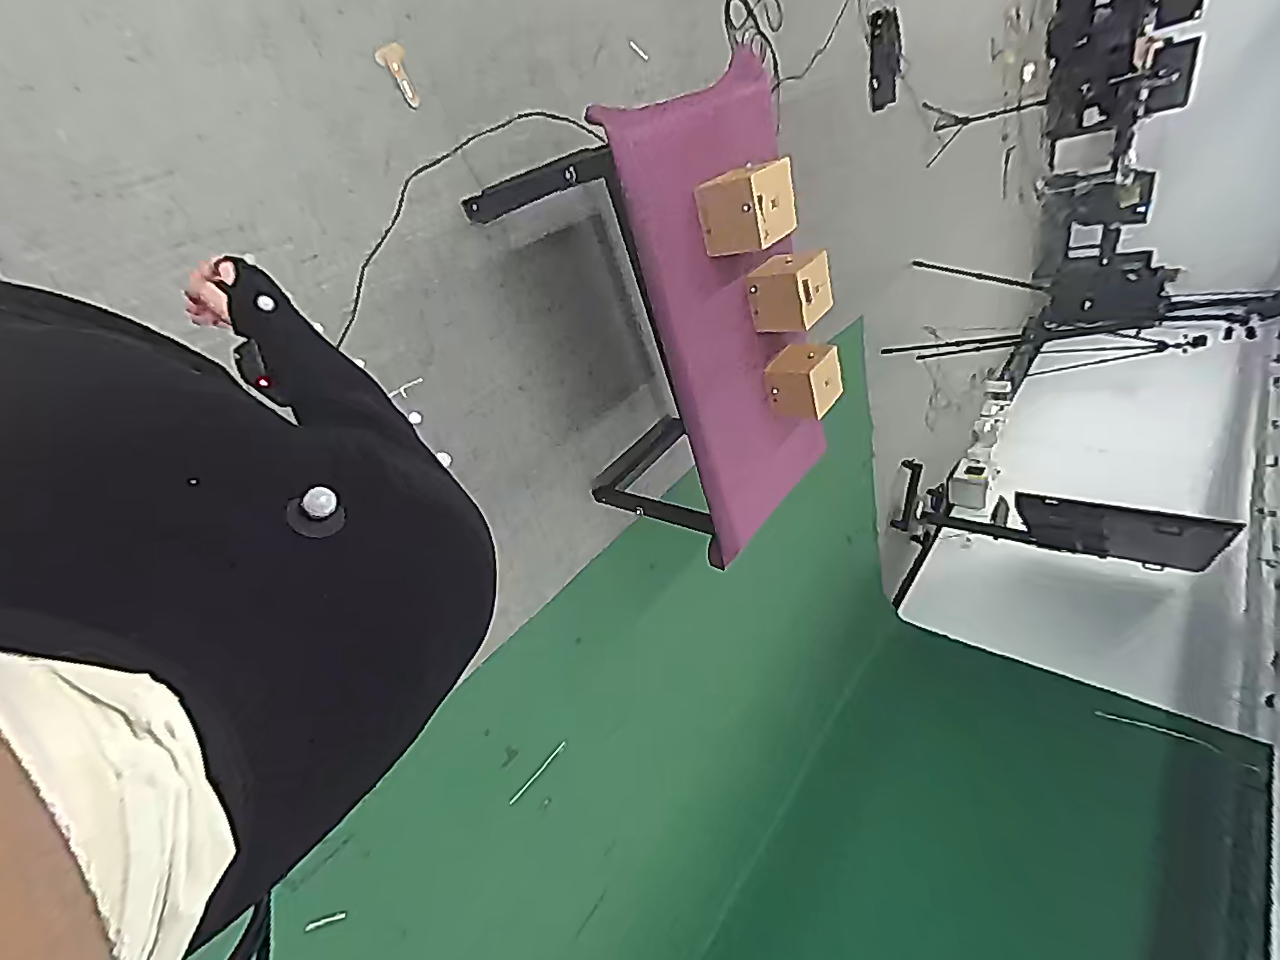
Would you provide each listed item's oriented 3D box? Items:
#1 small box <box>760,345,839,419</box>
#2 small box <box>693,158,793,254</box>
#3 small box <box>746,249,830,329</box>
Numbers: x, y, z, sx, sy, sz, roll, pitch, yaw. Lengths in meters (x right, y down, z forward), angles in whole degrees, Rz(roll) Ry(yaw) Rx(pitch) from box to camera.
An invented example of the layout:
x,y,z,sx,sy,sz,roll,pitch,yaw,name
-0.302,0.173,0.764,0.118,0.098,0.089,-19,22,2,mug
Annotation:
x,y,z,sx,sy,sz,roll,pitch,yaw,name
0.504,-0.314,1.704,0.179,0.176,0.168,-43,127,-30,small box
0.258,-0.679,1.348,0.179,0.176,0.168,-42,128,-32,small box
0.420,-0.543,1.555,0.179,0.176,0.168,-44,128,-32,small box
